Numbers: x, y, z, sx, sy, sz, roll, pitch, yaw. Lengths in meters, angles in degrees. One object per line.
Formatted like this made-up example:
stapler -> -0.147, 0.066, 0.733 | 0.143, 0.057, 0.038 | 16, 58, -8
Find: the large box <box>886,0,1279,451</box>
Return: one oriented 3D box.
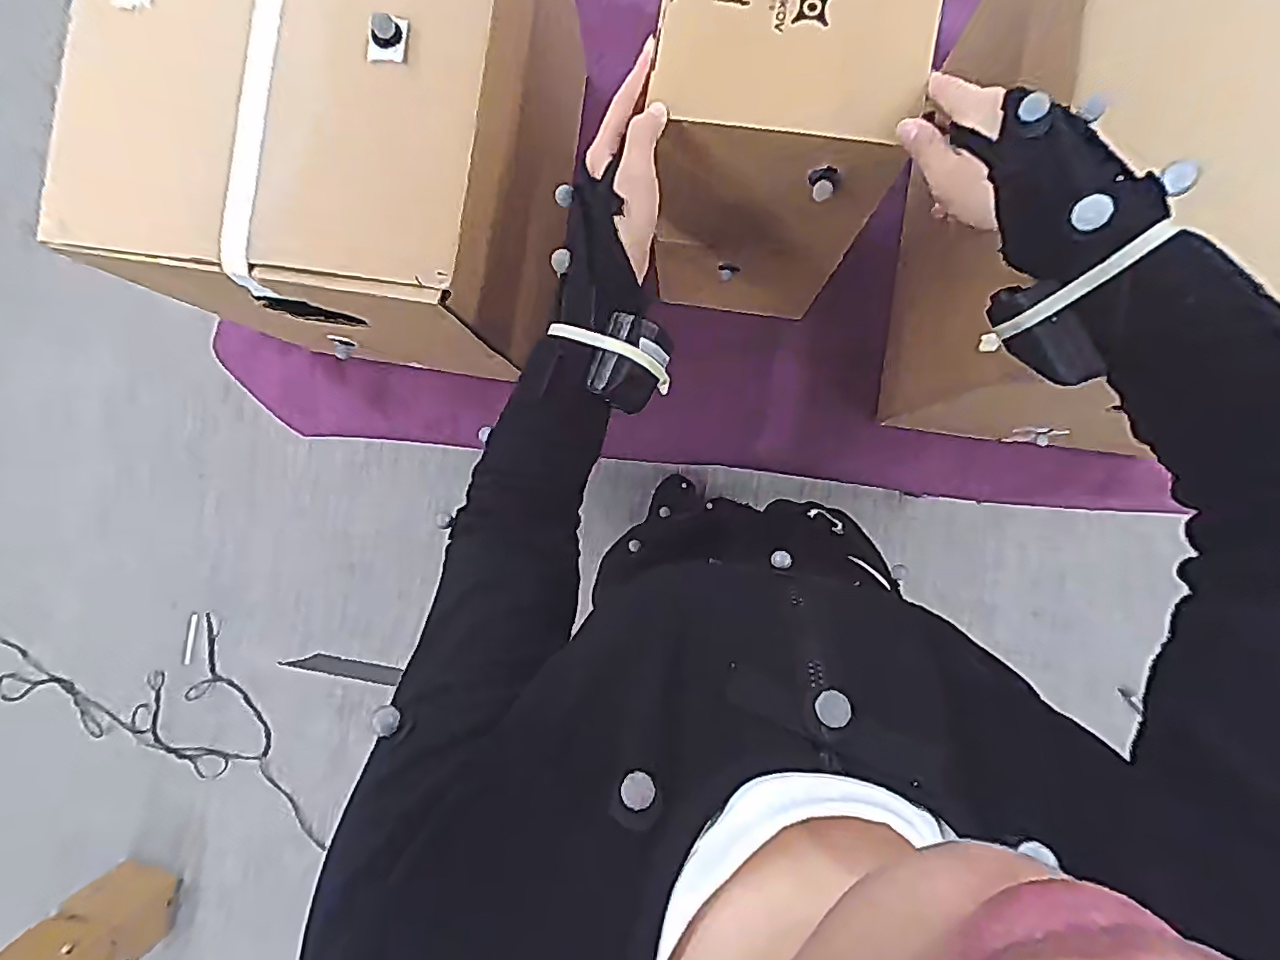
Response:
large box -> 0.444, -0.250, 0.485 | 0.320, 0.320, 0.408 | 7, 88, 4
